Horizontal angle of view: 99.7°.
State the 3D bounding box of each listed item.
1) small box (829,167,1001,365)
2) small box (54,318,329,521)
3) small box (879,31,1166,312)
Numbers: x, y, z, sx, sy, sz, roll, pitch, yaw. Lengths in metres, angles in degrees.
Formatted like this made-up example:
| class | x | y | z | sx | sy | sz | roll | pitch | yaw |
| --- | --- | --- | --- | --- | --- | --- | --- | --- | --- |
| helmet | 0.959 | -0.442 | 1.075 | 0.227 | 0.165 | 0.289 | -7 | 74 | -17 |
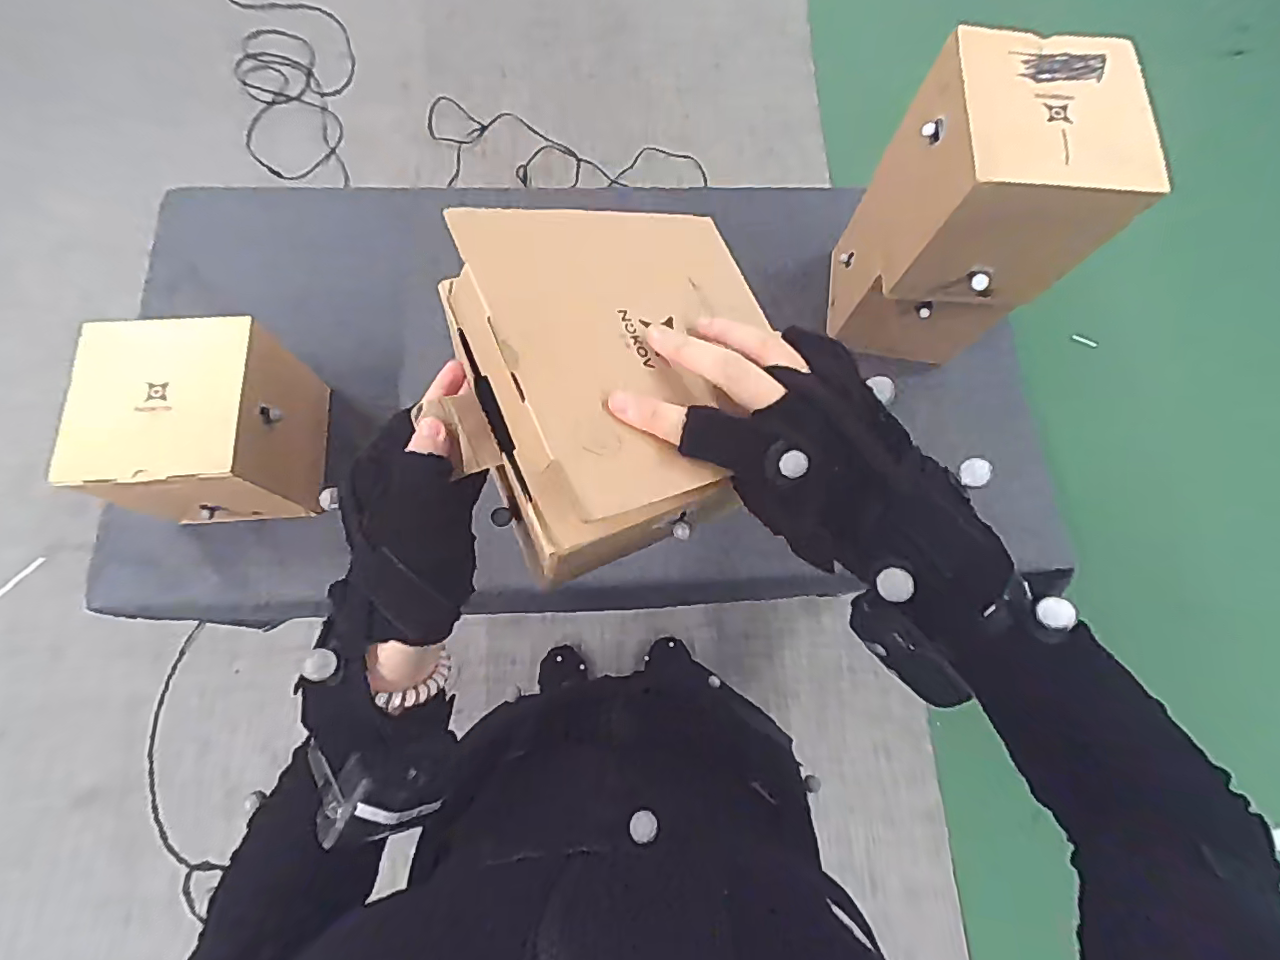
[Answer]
| class | x | y | z | sx | sy | sz | roll | pitch | yaw |
| --- | --- | --- | --- | --- | --- | --- | --- | --- | --- |
| small box | 0.364 | -0.269 | 0.711 | 0.179 | 0.176 | 0.168 | 10 | 74 | 1 |
| small box | -0.478 | -0.060 | 0.611 | 0.168 | 0.176 | 0.179 | -4 | 74 | -4 |
| small box | 0.360 | -0.298 | 0.549 | 0.168 | 0.176 | 0.179 | 4 | 75 | -1 |
